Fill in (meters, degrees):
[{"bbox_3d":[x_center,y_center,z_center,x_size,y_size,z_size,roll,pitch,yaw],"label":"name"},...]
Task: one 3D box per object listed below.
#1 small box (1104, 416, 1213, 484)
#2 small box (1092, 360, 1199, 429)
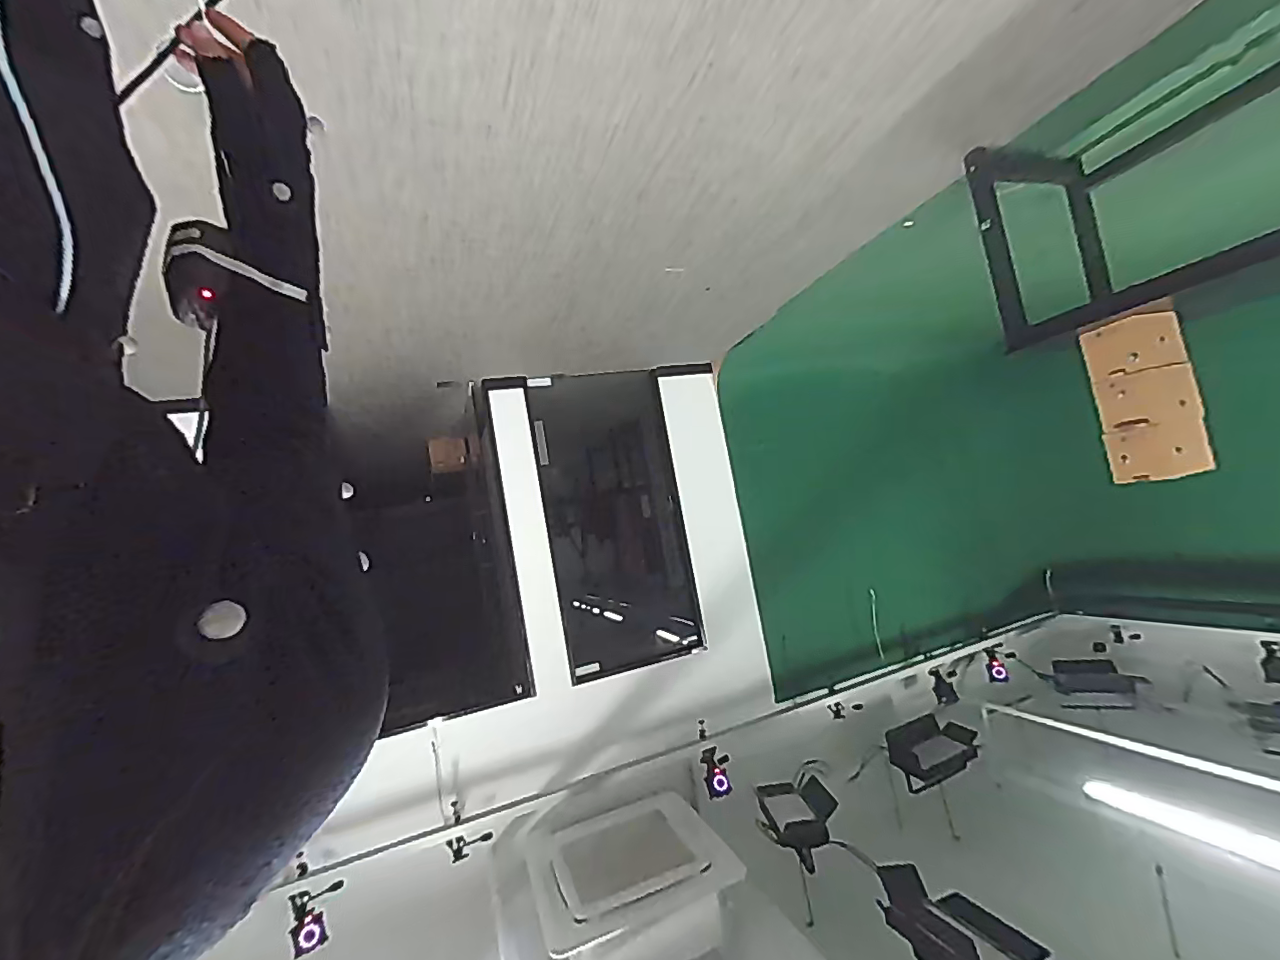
[{"bbox_3d":[1.601,-0.091,1.677,0.179,0.176,0.168,-11,176,-14],"label":"small box"},{"bbox_3d":[1.569,-0.268,1.683,0.179,0.176,0.168,-10,176,-14],"label":"small box"}]
